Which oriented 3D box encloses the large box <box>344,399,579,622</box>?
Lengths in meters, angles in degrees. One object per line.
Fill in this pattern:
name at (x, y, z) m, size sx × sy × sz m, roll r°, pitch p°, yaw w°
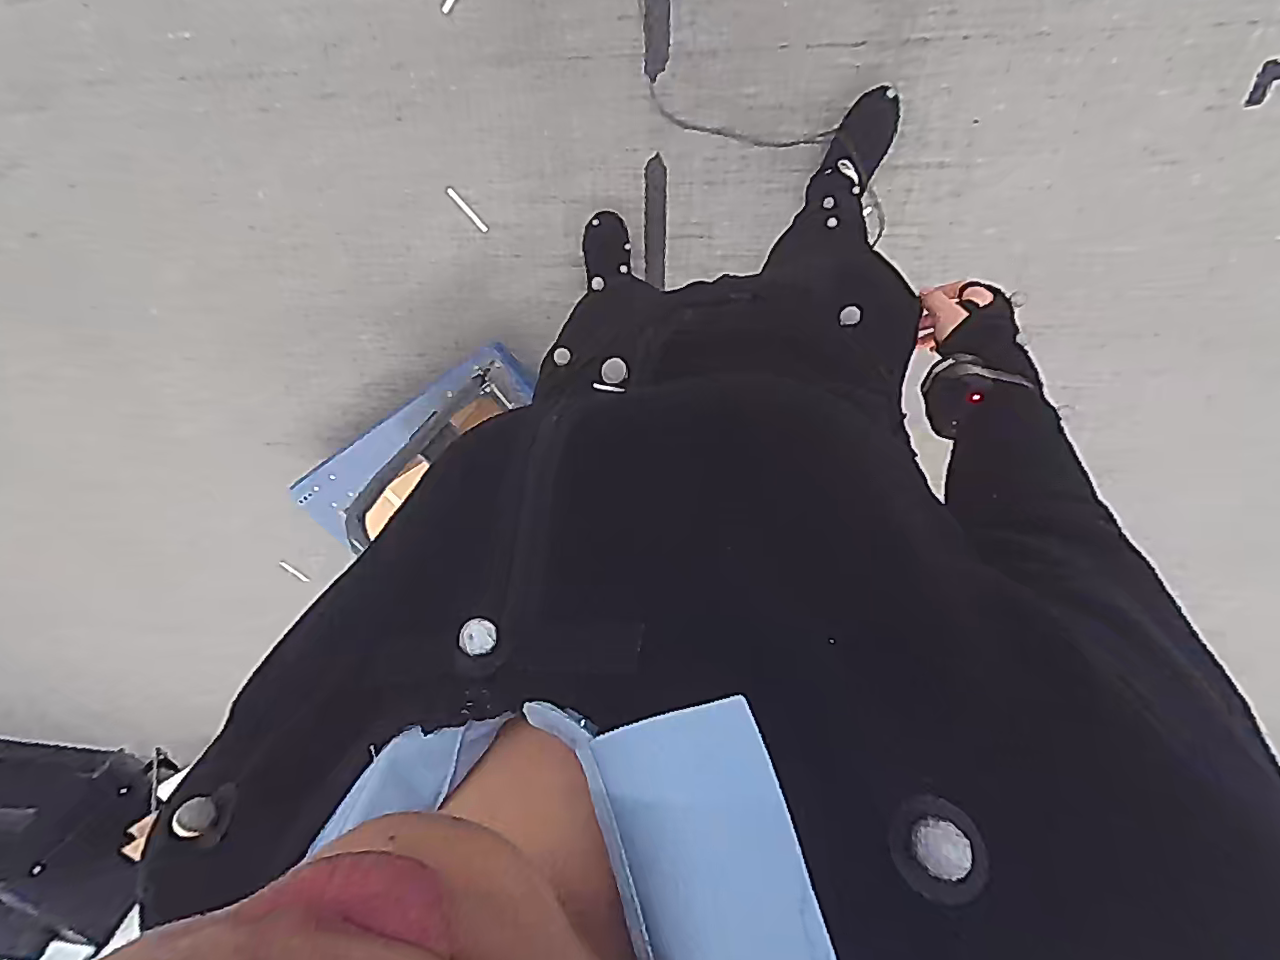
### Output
large box at (-0.417, 0.078, 1.358) m, size 0.320 × 0.320 × 0.408 m, roll -27°, pitch 115°, yaw 23°
